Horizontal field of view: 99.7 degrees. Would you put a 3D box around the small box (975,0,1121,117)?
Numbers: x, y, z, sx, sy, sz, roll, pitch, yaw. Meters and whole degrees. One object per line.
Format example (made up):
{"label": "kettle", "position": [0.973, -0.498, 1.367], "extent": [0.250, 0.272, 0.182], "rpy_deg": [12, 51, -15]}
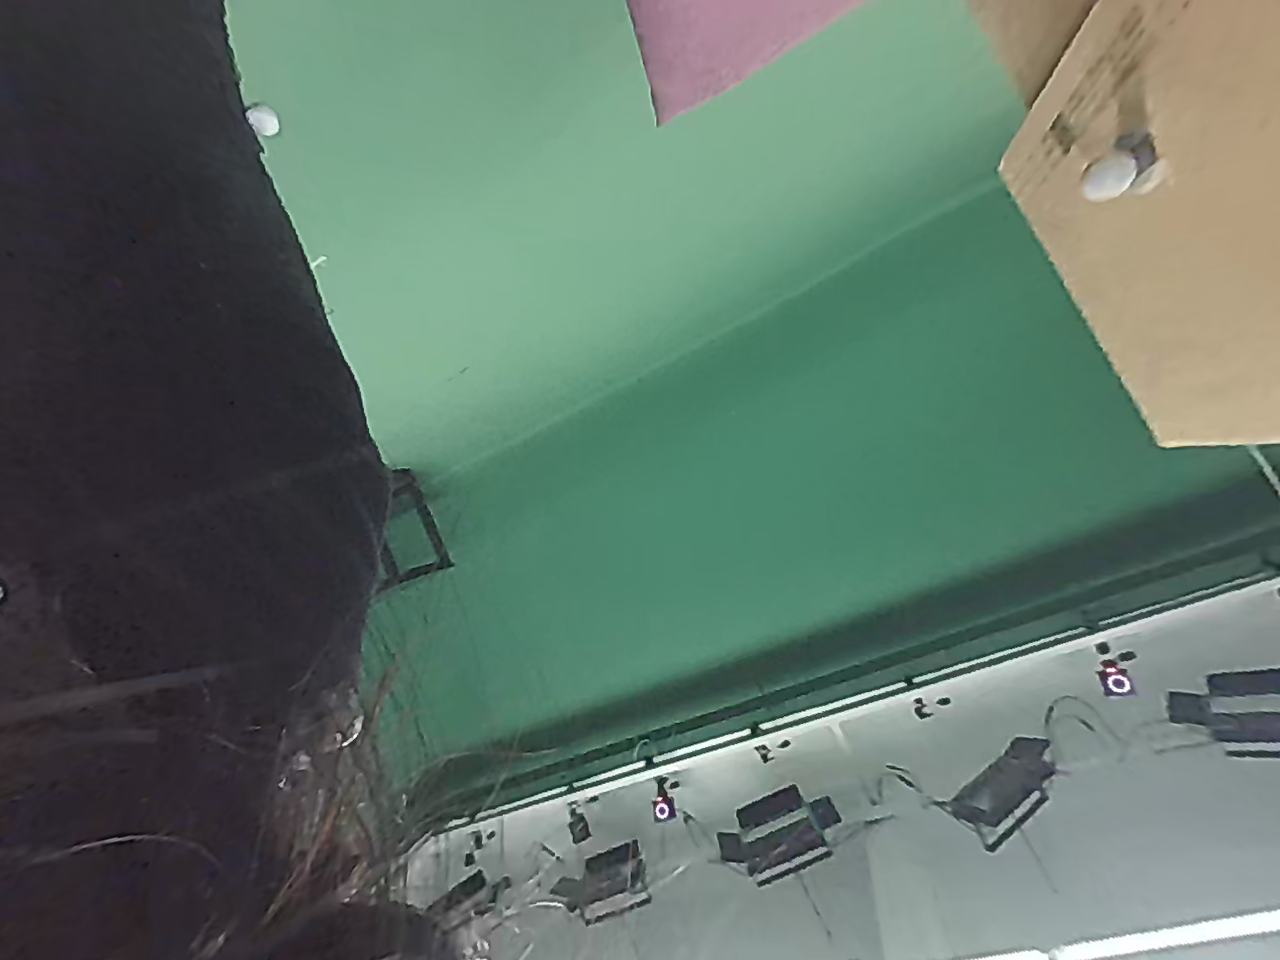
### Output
{"label": "small box", "position": [0.205, -0.272, 0.161], "extent": [0.179, 0.176, 0.168], "rpy_deg": [-27, 174, 18]}

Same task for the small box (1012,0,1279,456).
{"label": "small box", "position": [0.269, -0.119, 0.167], "extent": [0.179, 0.176, 0.168], "rpy_deg": [-27, 174, 18]}
